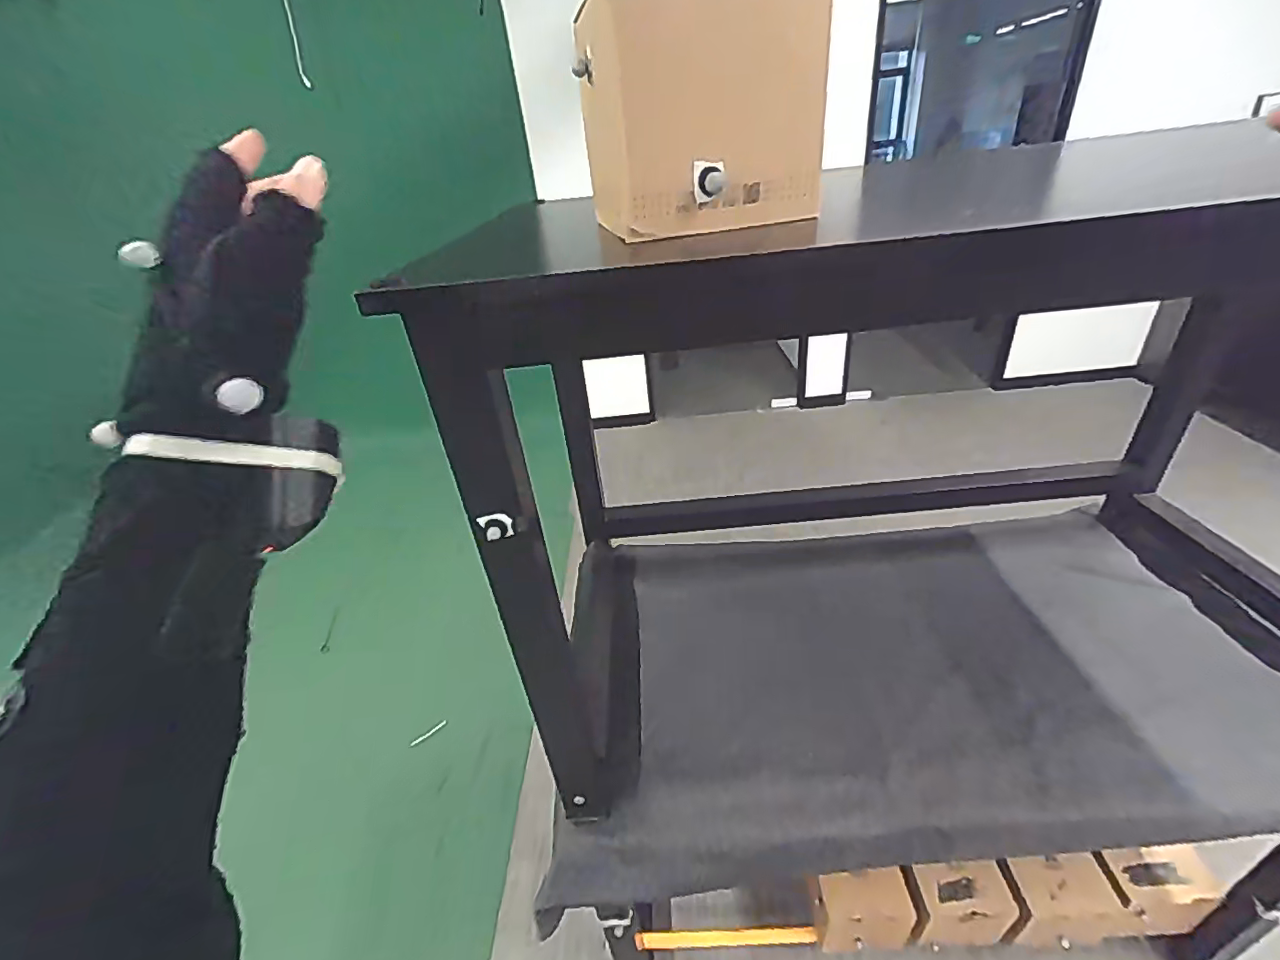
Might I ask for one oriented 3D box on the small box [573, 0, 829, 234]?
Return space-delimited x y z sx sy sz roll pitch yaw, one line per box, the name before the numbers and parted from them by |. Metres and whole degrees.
small box | 0.042 -0.320 0.469 0.168 0.176 0.179 -12 33 -7
